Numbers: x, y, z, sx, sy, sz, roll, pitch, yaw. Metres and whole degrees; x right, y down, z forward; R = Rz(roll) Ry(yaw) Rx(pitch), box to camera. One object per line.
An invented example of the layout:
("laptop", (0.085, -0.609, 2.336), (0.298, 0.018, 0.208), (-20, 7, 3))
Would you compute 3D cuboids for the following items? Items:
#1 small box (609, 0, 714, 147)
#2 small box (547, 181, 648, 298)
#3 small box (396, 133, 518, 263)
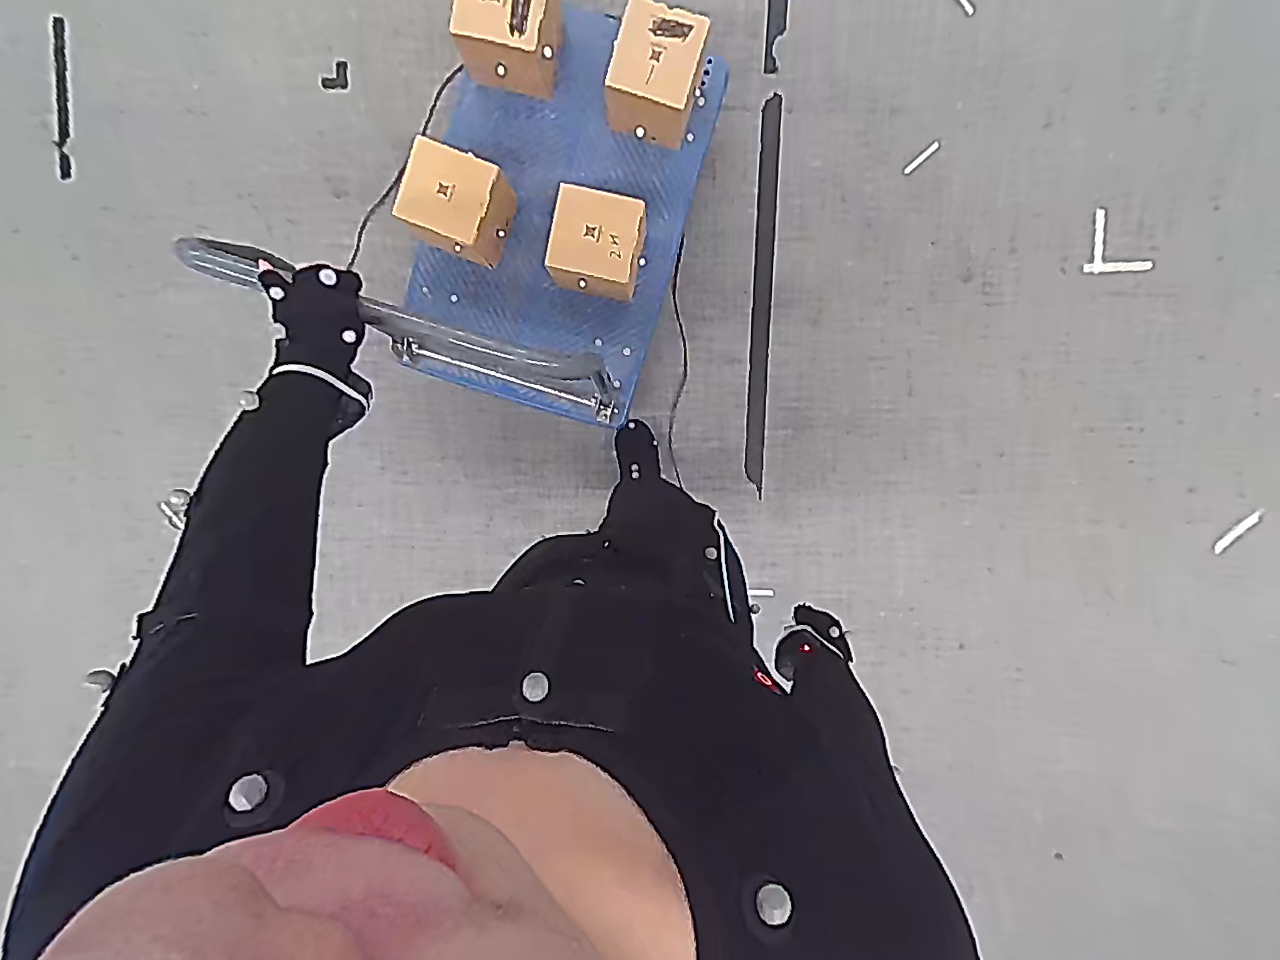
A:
("small box", (0.041, -0.843, 1.124), (0.168, 0.176, 0.179), (18, 97, -1))
("small box", (-0.085, -0.505, 1.160), (0.179, 0.176, 0.168), (13, 96, 0))
("small box", (-0.382, -0.590, 1.158), (0.179, 0.176, 0.168), (20, 95, -2))
